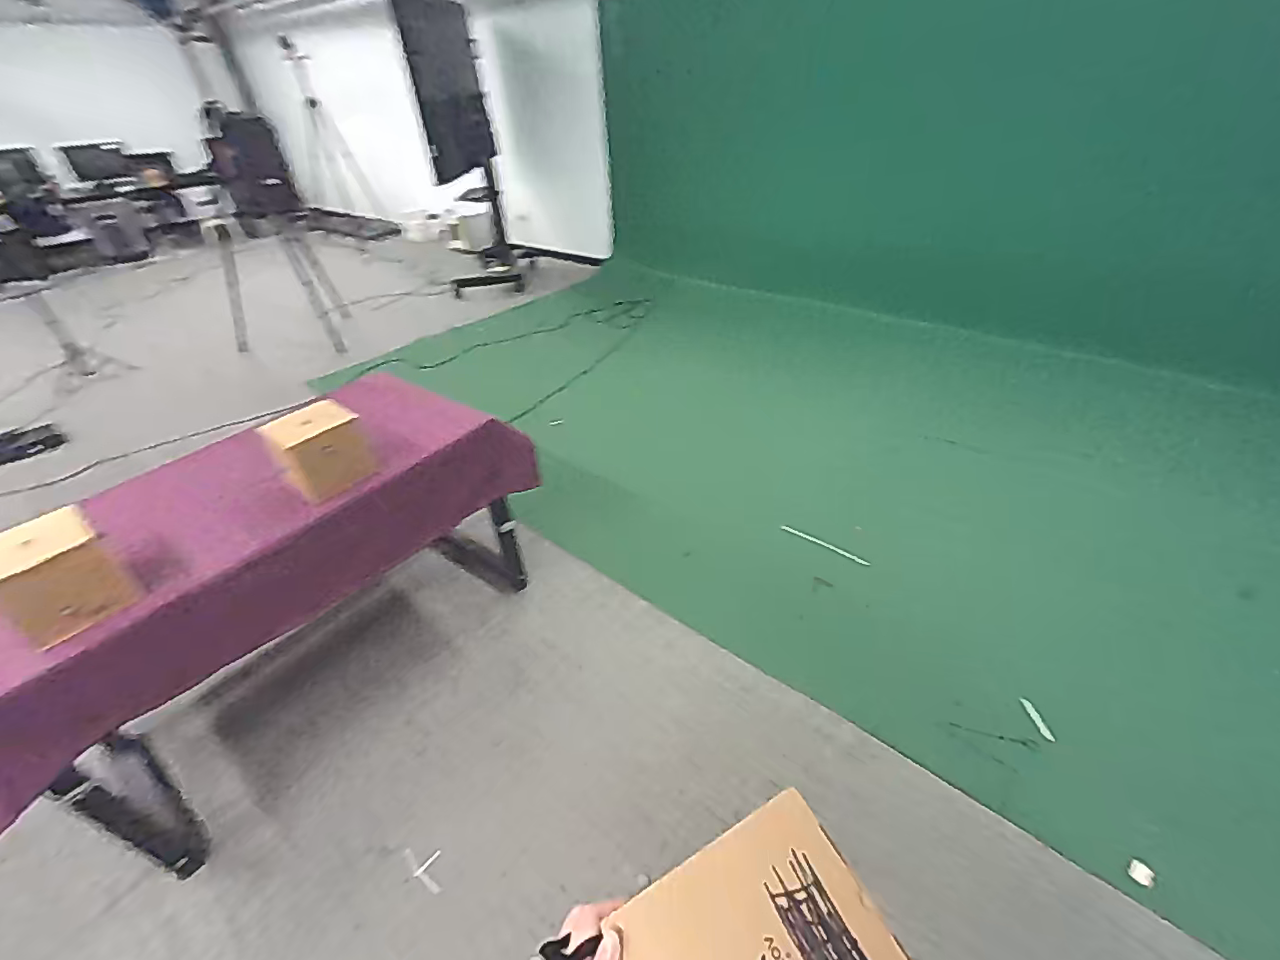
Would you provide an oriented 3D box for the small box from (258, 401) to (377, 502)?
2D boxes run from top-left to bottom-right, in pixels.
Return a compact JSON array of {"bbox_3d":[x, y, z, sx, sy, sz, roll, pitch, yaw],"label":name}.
[{"bbox_3d":[-0.801,-0.071,1.359,0.168,0.176,0.179,24,45,31],"label":"small box"}]

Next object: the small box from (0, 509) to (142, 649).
[{"bbox_3d":[-1.124,0.190,1.042,0.179,0.176,0.168,24,44,31],"label":"small box"}]
